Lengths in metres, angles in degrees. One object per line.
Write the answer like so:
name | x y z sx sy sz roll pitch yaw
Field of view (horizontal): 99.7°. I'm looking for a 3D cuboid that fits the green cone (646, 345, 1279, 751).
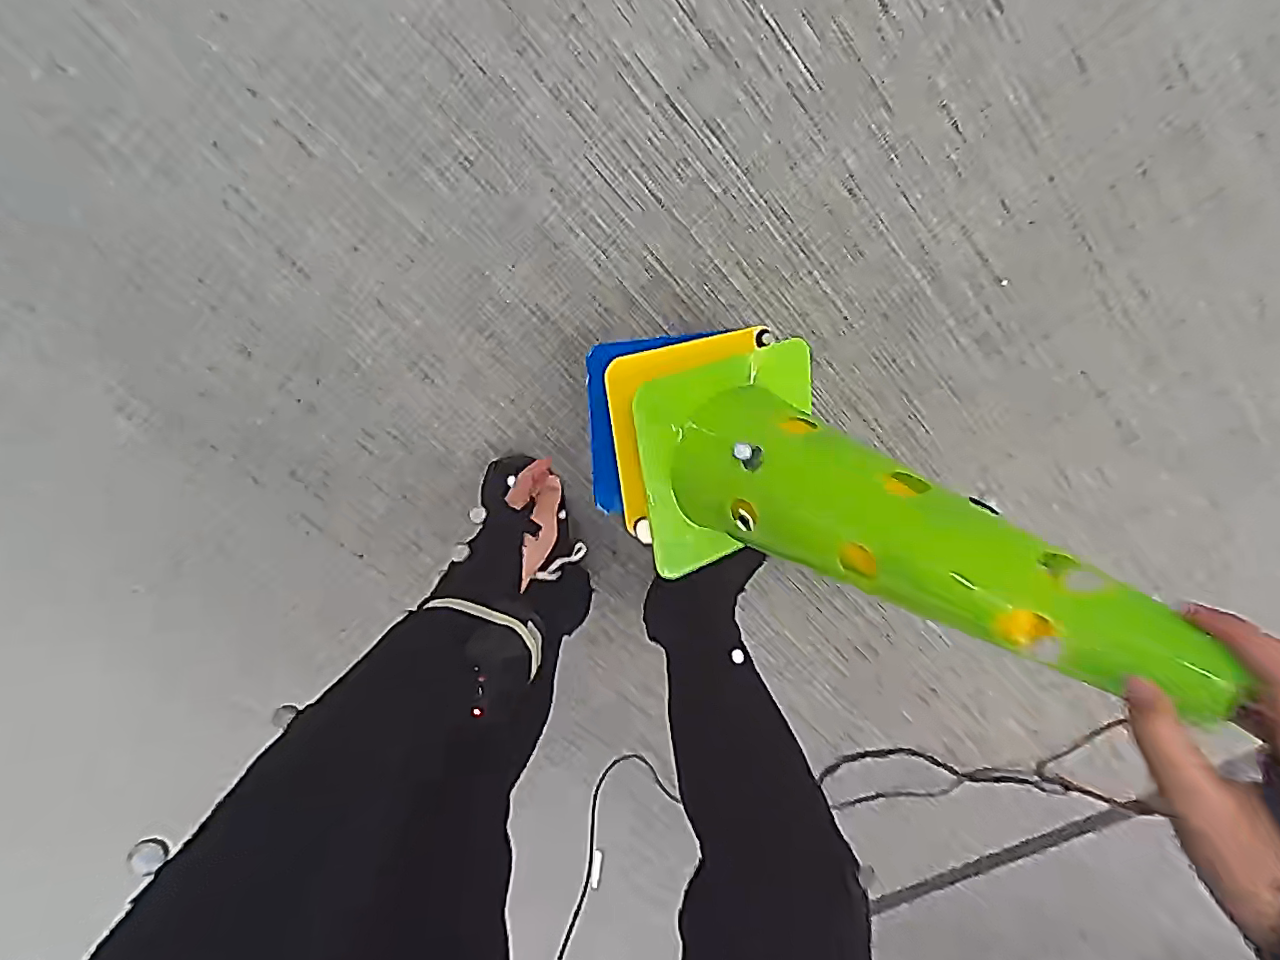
green cone | 0.184 0.038 0.375 0.202 0.368 0.200 -21 117 -22
